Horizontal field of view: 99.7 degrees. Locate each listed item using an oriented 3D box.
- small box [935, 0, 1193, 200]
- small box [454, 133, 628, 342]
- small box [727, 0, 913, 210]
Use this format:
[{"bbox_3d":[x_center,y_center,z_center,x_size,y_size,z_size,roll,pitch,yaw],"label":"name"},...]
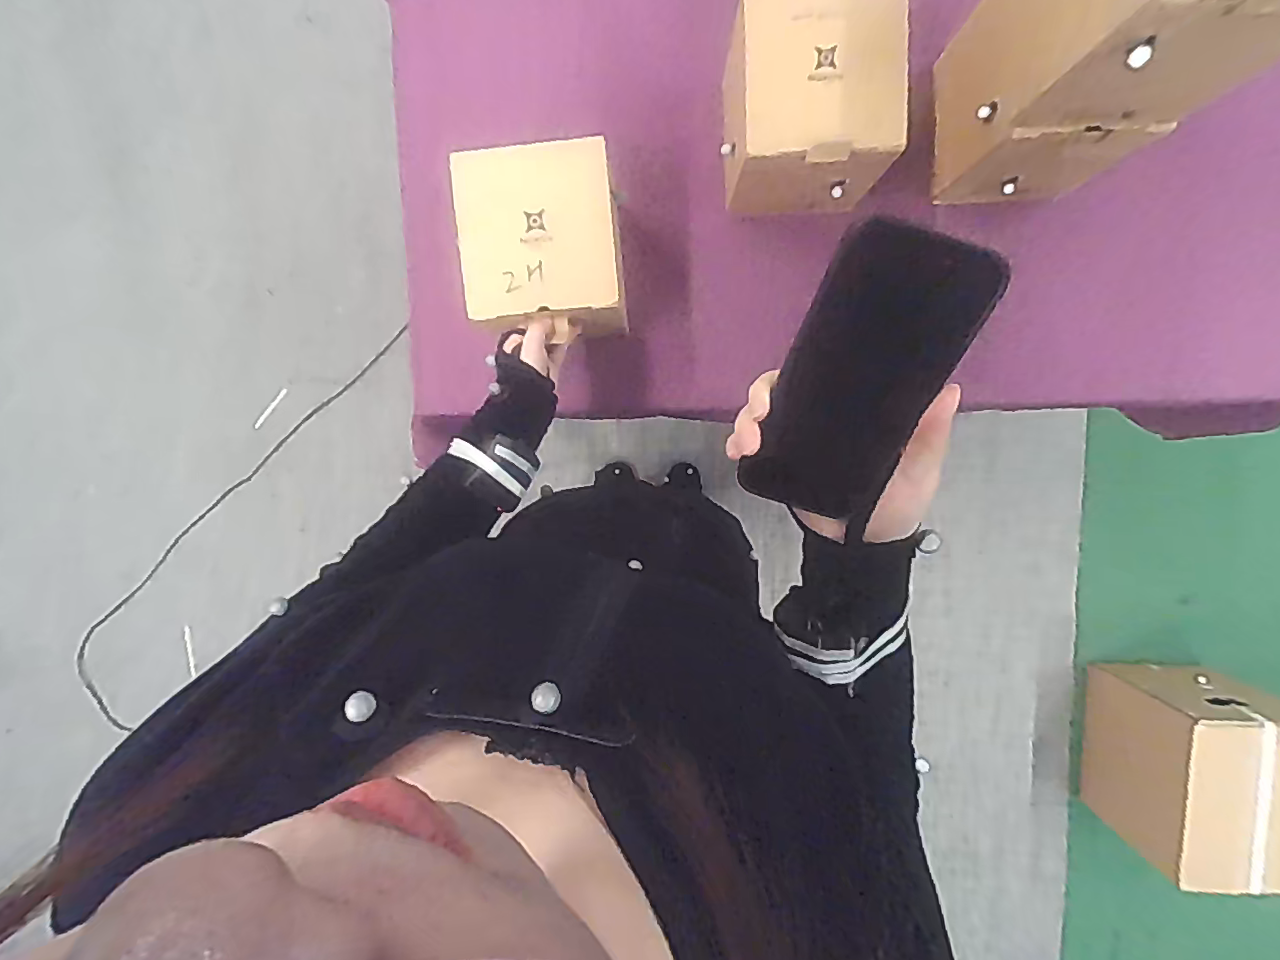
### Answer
[{"bbox_3d":[0.458,-0.443,0.611,0.168,0.176,0.179,-1,96,3],"label":"small box"},{"bbox_3d":[-0.105,-0.274,0.648,0.168,0.176,0.179,-5,95,3],"label":"small box"},{"bbox_3d":[0.194,-0.428,0.624,0.168,0.176,0.179,-2,95,2],"label":"small box"}]
